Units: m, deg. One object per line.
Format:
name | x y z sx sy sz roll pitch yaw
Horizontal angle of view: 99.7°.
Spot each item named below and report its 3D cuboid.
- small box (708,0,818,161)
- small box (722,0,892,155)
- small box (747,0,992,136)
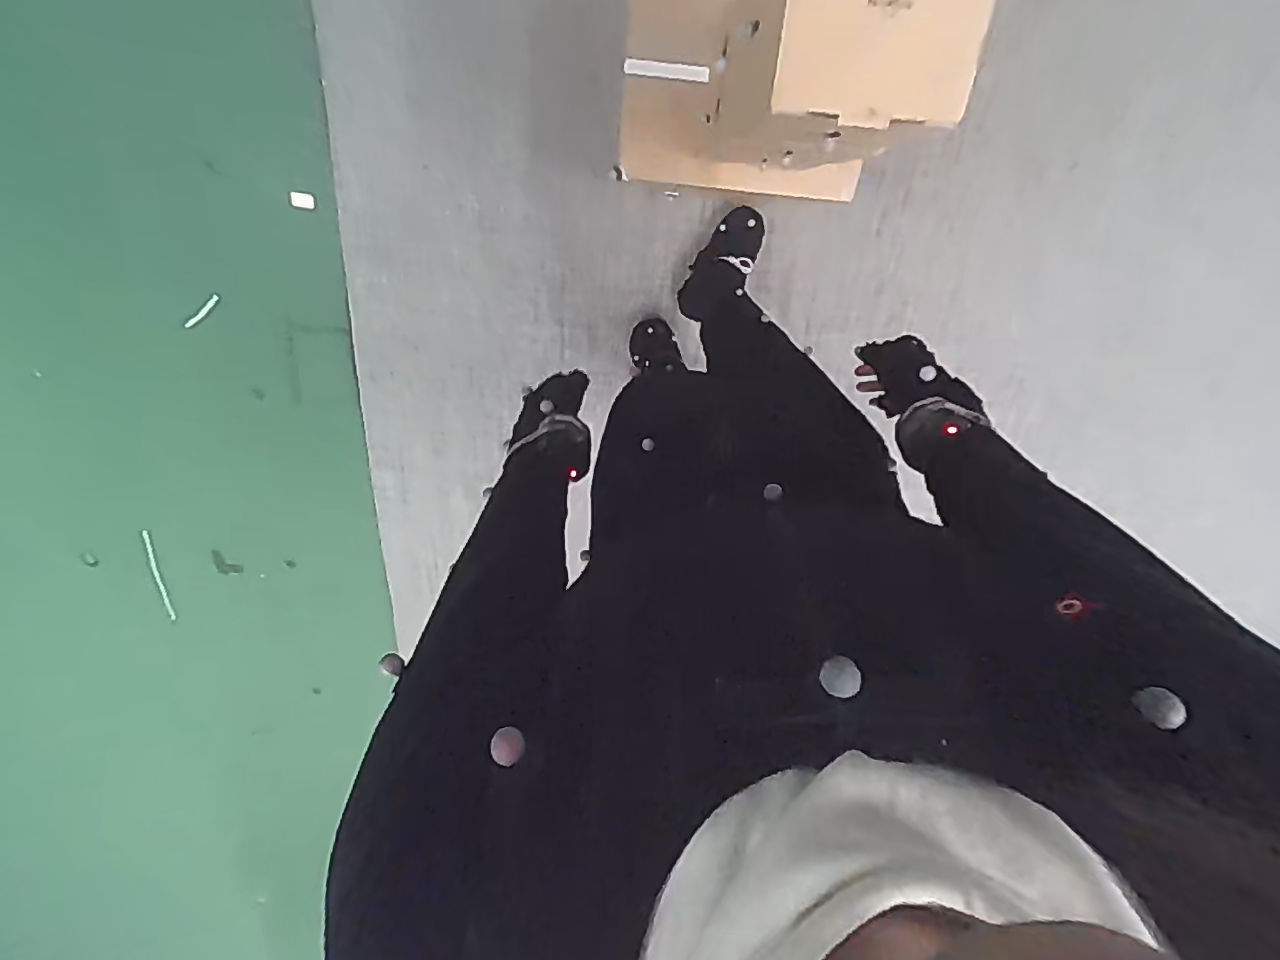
small box | 0.199 -0.566 0.783 0.179 0.176 0.168 3 117 -2
small box | 0.201 -0.489 0.638 0.179 0.176 0.168 5 117 0
small box | 0.196 -0.423 0.489 0.168 0.176 0.179 3 117 0
